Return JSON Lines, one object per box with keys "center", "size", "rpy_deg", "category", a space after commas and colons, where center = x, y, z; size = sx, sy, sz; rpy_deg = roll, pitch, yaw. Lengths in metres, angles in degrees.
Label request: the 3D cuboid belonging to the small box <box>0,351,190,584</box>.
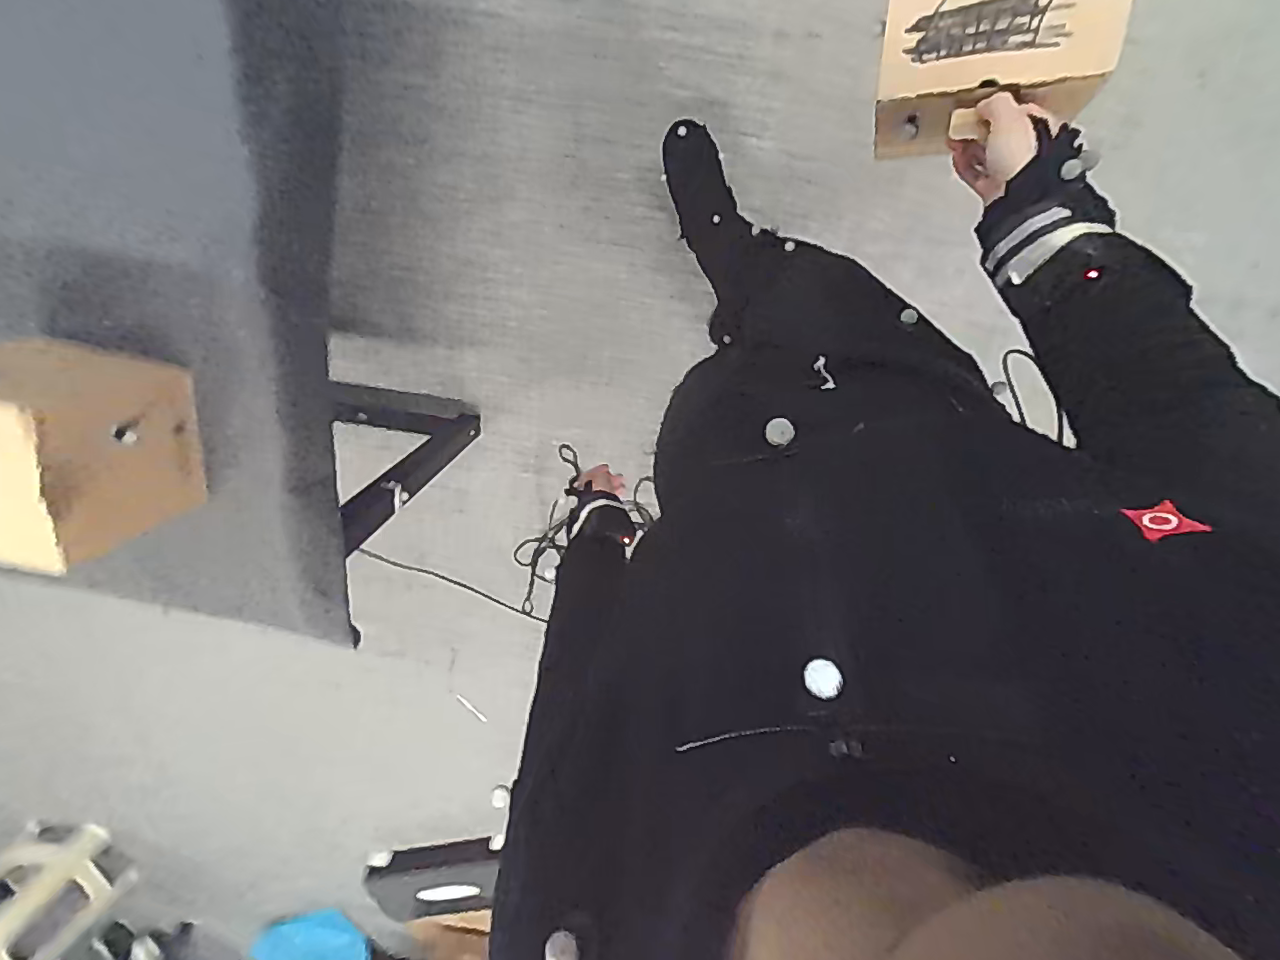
{"center": [-0.597, -0.024, 0.540], "size": [0.179, 0.176, 0.168], "rpy_deg": [12, 112, 1], "category": "small box"}
